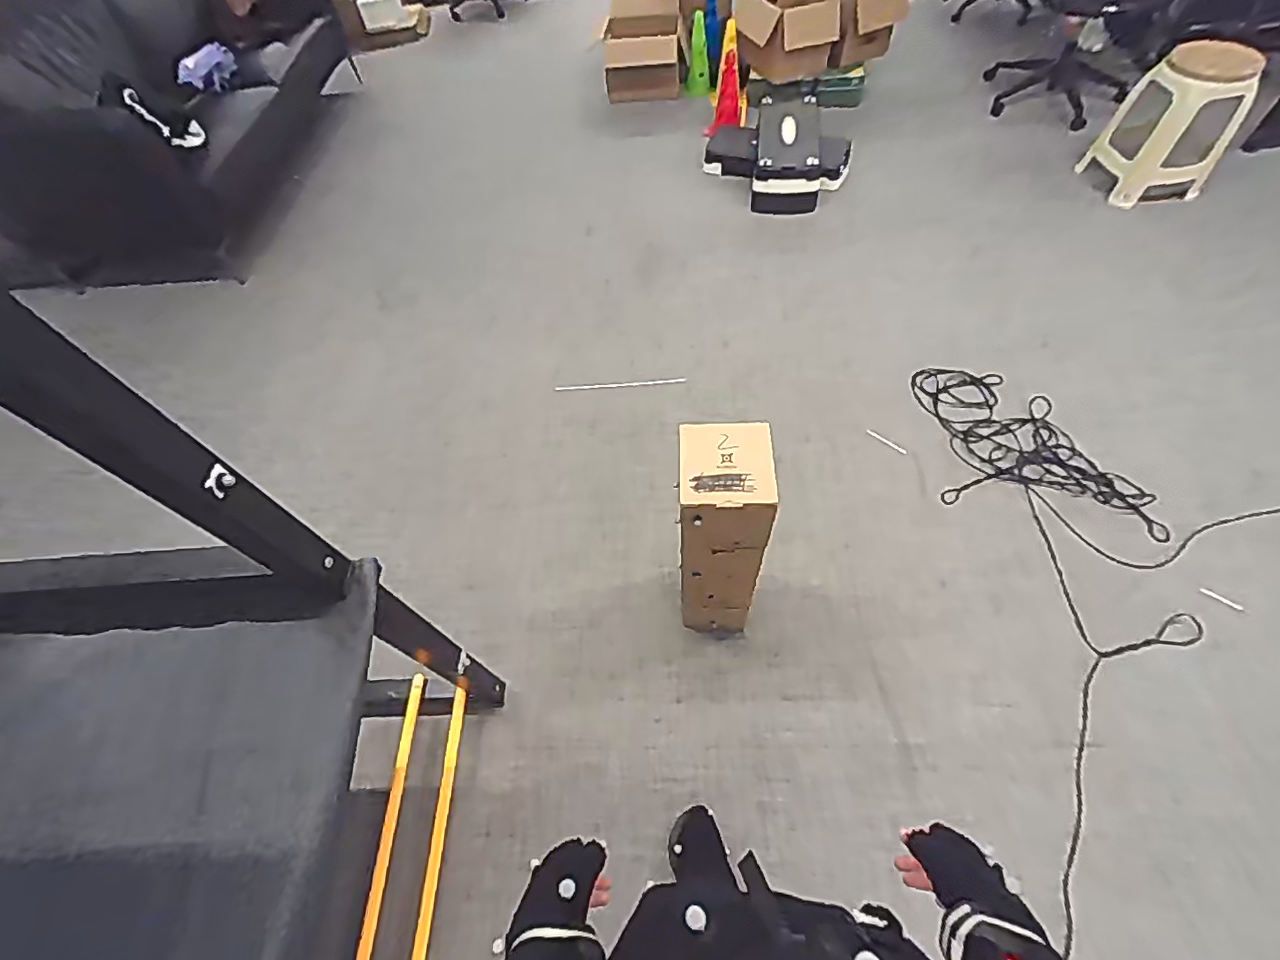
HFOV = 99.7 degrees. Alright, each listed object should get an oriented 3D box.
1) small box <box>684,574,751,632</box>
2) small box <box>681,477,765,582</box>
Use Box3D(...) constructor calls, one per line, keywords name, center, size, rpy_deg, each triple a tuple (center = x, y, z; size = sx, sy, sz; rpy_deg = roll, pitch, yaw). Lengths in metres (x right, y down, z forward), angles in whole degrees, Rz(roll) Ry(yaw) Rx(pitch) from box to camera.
Box3D(name="small box", center=(0.204, 0.287, 1.431), size=(0.168, 0.176, 0.179), rpy_deg=(2, 58, 8))
Box3D(name="small box", center=(0.174, 0.109, 1.160), size=(0.168, 0.176, 0.179), rpy_deg=(0, 57, 6))
